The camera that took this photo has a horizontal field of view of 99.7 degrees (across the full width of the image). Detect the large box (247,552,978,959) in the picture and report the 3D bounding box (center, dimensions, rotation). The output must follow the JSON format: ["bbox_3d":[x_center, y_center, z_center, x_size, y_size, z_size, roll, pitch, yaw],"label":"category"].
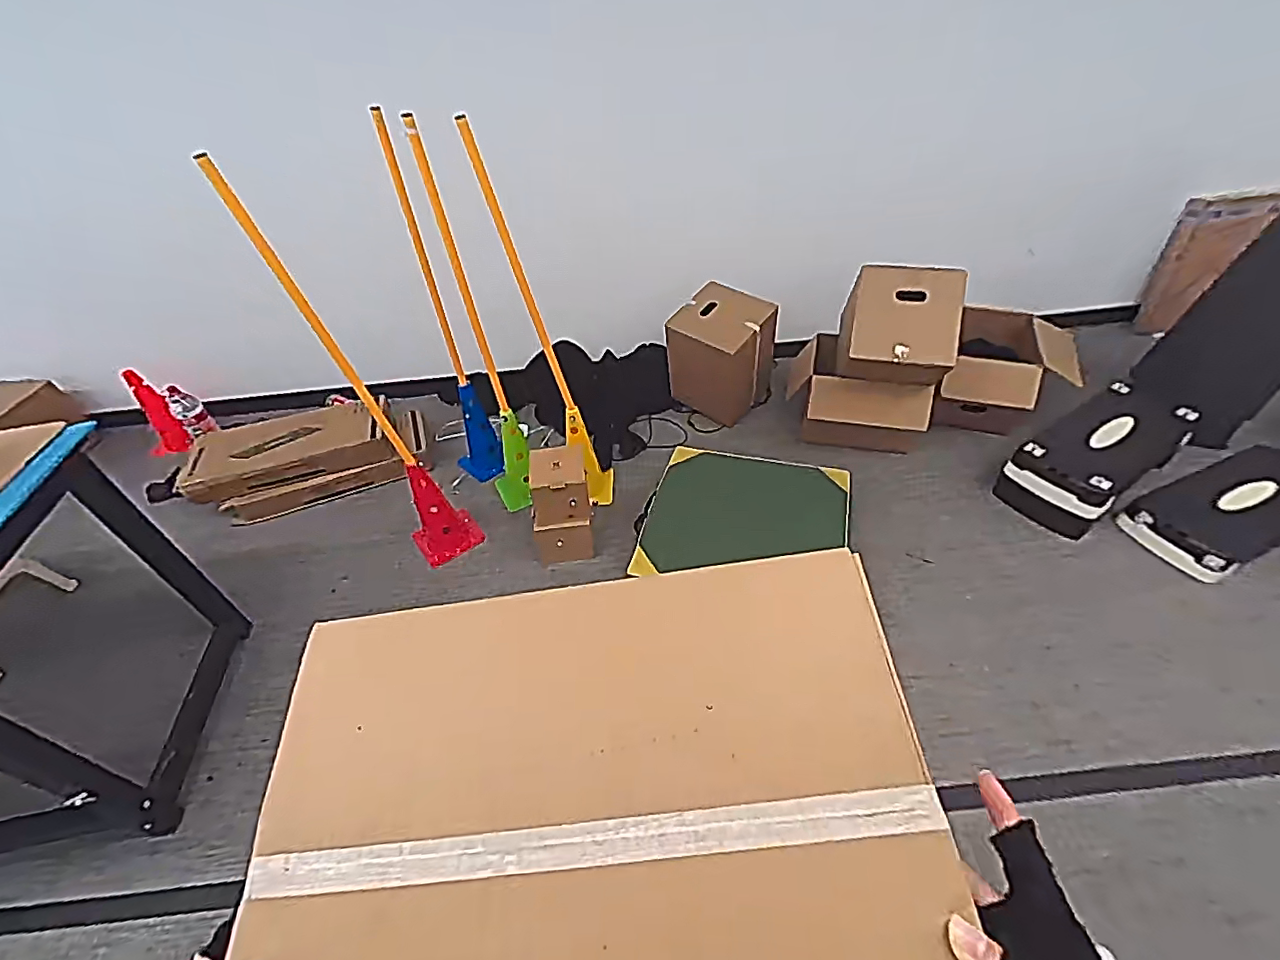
[{"bbox_3d":[-0.009,0.289,0.445,0.408,0.320,0.320,-9,56,5],"label":"large box"}]
